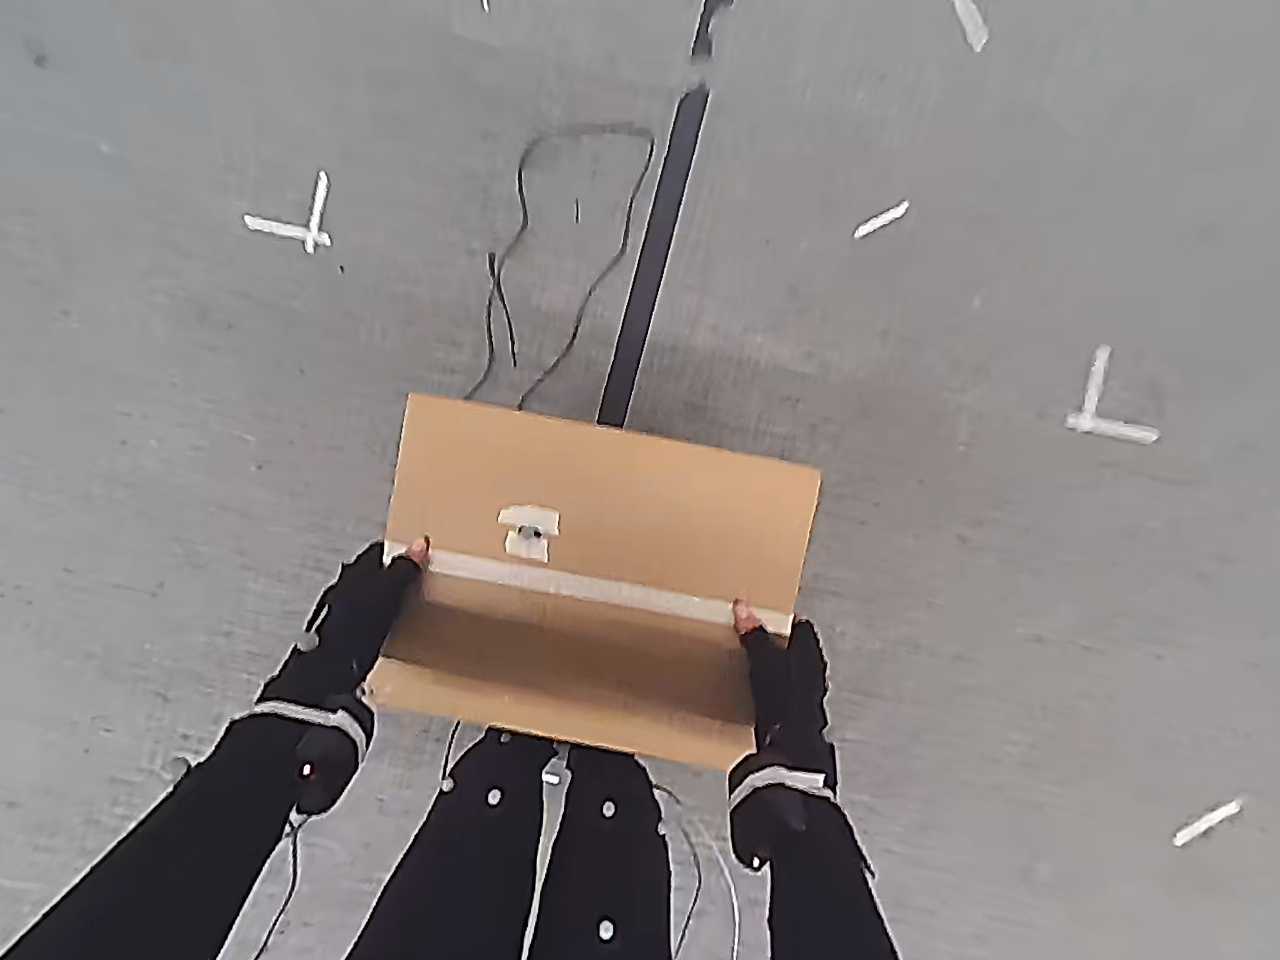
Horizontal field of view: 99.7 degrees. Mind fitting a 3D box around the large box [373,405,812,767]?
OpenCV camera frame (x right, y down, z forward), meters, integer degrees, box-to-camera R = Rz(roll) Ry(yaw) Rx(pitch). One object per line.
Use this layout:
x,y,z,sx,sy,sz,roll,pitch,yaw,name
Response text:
-0.047,0.099,0.684,0.408,0.320,0.320,11,93,1,large box
